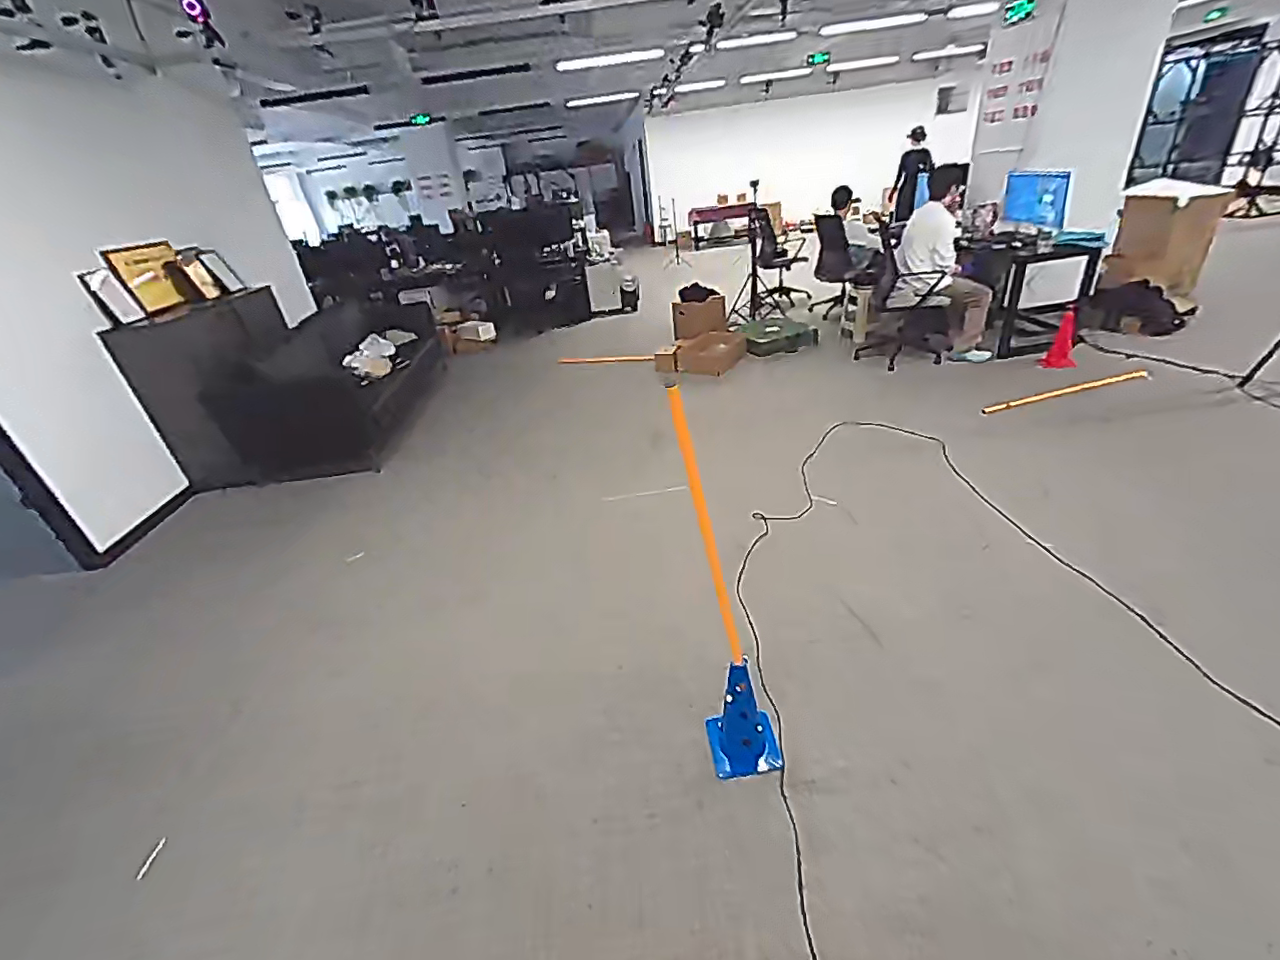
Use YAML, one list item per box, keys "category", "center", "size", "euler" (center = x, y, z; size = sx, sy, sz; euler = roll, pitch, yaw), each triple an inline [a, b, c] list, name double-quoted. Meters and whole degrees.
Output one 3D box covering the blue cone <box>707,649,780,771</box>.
- category: "blue cone"
  center: [0.288, 0.639, 1.554]
  size: [0.193, 0.380, 0.192]
  euler: [-11, 29, -2]
